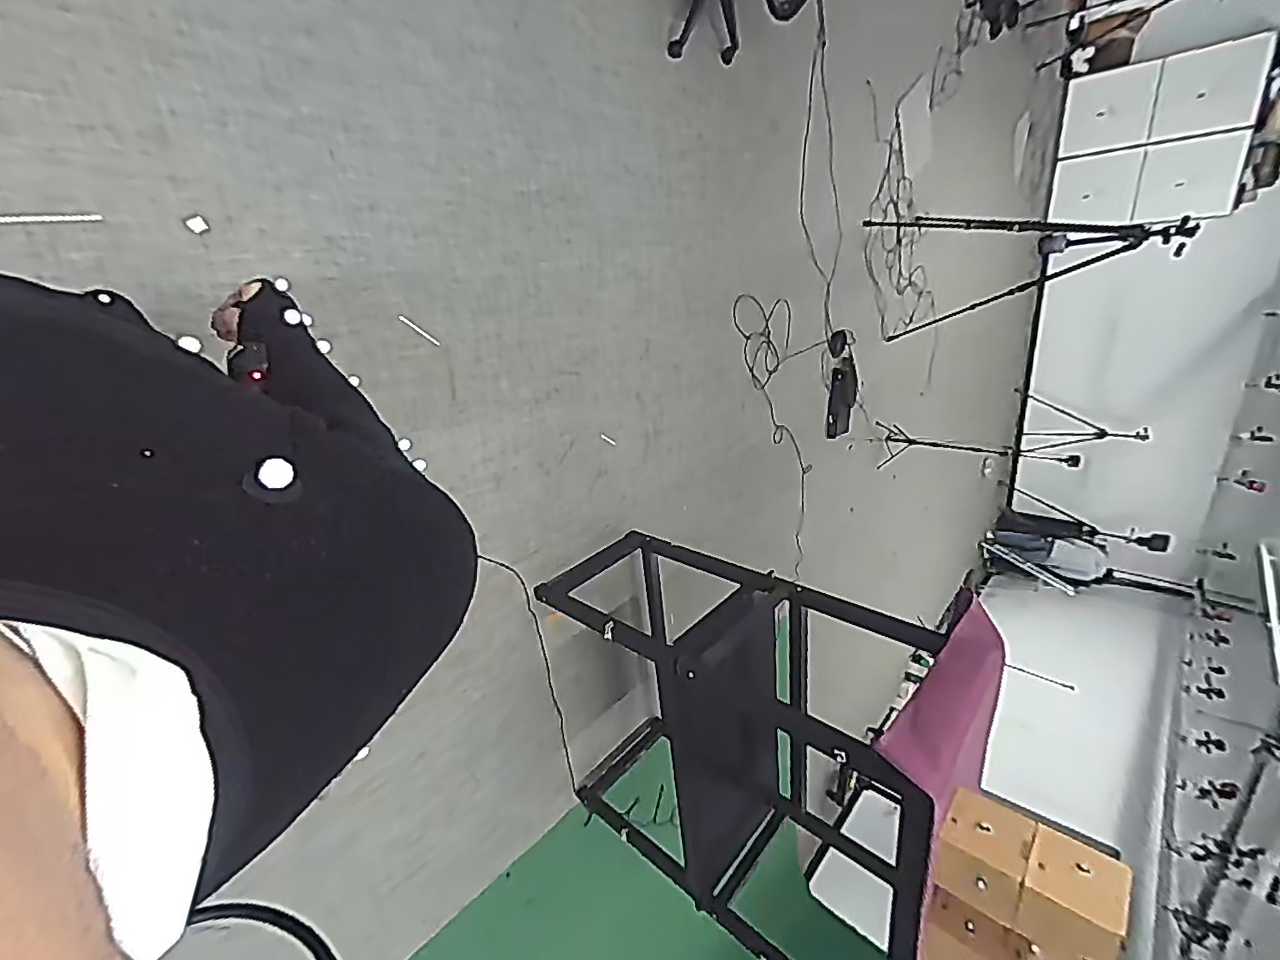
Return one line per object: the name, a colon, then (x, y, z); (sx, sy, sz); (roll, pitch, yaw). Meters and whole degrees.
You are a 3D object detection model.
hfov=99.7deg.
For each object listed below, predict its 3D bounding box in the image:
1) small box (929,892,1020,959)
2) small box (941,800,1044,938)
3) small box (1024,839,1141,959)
small box: (0.855, 1.187, 1.379); (0.168, 0.176, 0.179); (-27, 119, -40)
small box: (0.820, 0.894, 1.266); (0.168, 0.176, 0.179); (-28, 119, -40)
small box: (0.941, 0.919, 1.159); (0.168, 0.176, 0.179); (-30, 122, -40)
